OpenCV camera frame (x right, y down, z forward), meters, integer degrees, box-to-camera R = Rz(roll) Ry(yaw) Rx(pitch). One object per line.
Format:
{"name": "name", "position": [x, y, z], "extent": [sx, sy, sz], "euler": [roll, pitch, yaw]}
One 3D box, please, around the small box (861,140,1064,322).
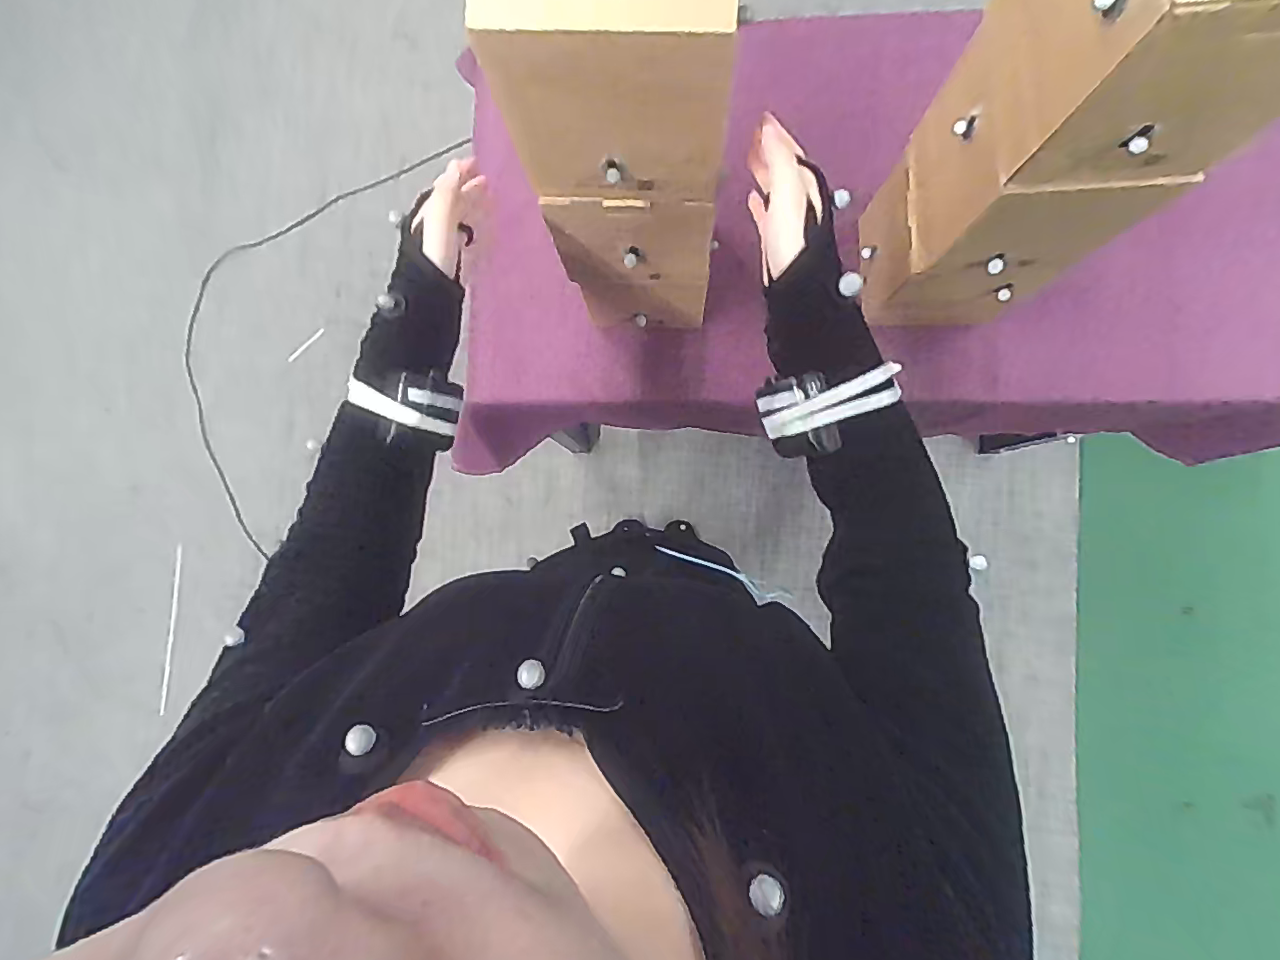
{"name": "small box", "position": [0.410, -0.318, 0.714], "extent": [0.179, 0.176, 0.168], "euler": [0, 85, 4]}

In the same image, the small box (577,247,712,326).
{"name": "small box", "position": [0.012, -0.327, 0.740], "extent": [0.168, 0.176, 0.179], "euler": [2, 87, 4]}

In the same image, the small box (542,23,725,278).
{"name": "small box", "position": [-0.001, -0.331, 0.577], "extent": [0.168, 0.176, 0.179], "euler": [2, 87, 3]}

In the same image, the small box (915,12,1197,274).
{"name": "small box", "position": [0.399, -0.332, 0.552], "extent": [0.168, 0.176, 0.179], "euler": [-1, 86, 4]}

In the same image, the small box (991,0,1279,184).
{"name": "small box", "position": [0.386, -0.351, 0.391], "extent": [0.168, 0.176, 0.179], "euler": [-3, 86, 4]}
